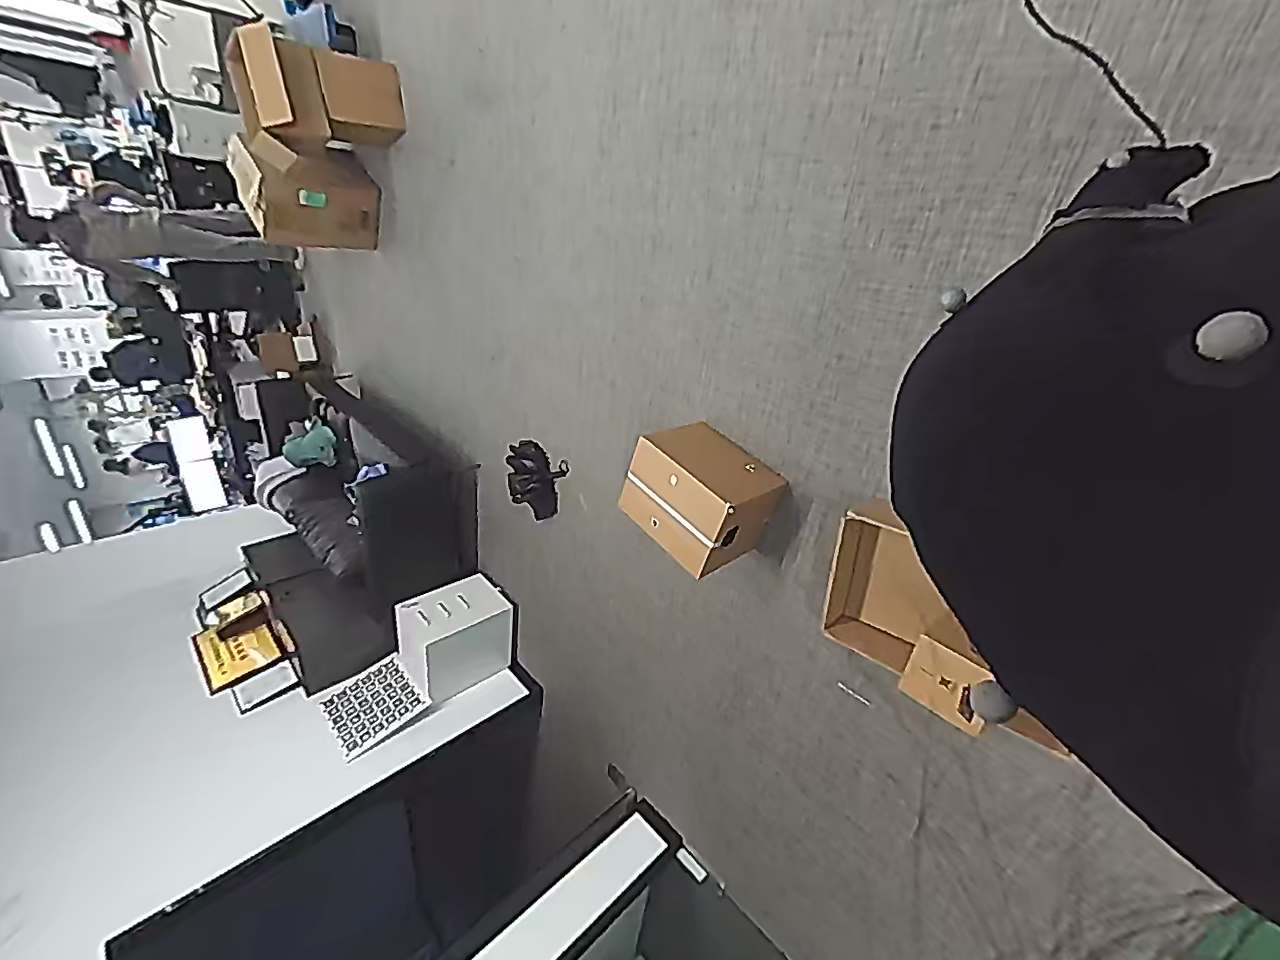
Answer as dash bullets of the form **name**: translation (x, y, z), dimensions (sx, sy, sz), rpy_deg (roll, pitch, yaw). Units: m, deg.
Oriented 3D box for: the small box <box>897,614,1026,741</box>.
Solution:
- **small box**: translation (0.716, 0.427, 1.203), dimensions (0.179, 0.176, 0.168), rpy_deg (31, 124, 40)
